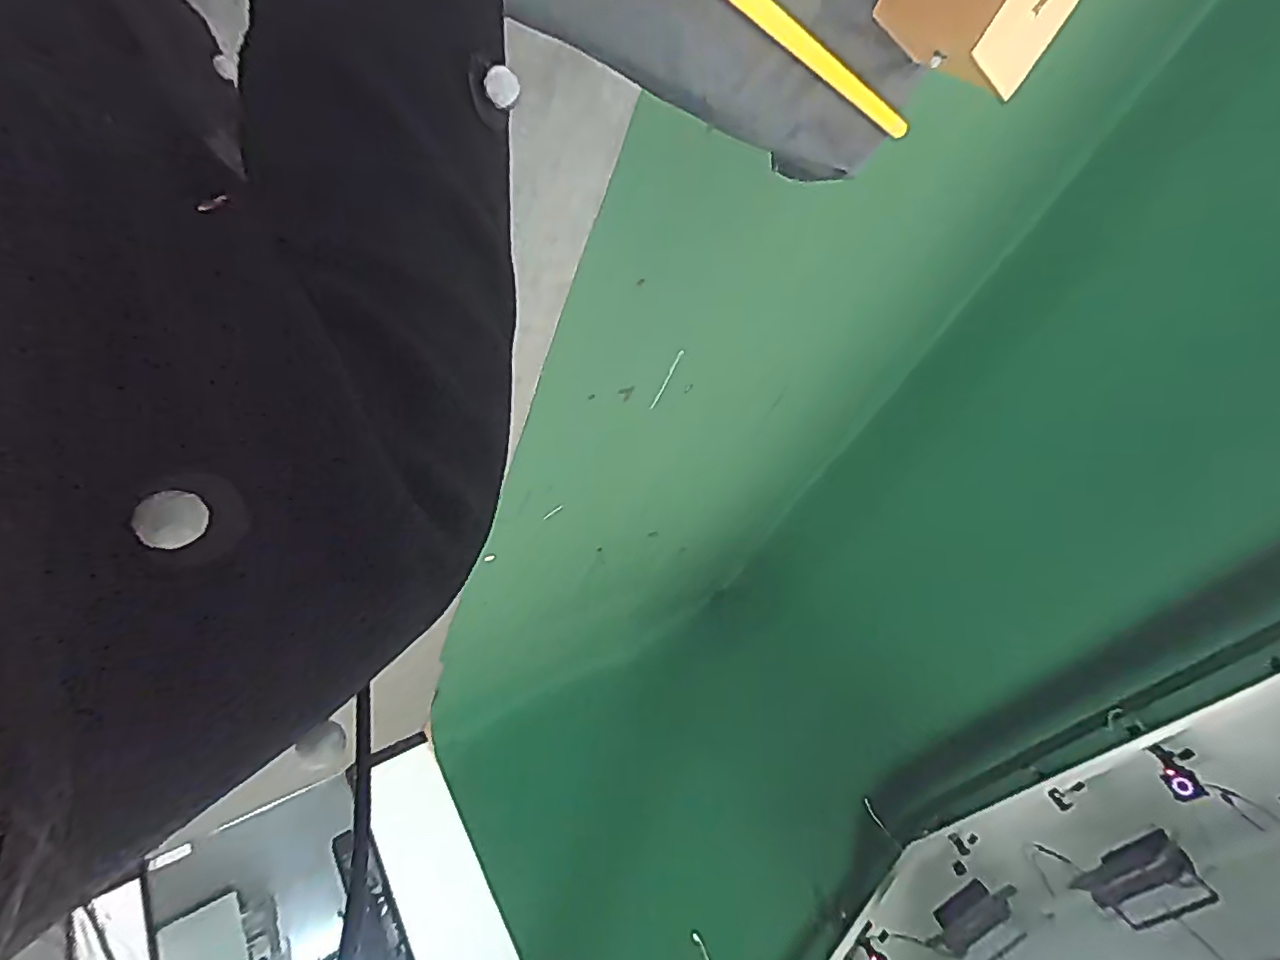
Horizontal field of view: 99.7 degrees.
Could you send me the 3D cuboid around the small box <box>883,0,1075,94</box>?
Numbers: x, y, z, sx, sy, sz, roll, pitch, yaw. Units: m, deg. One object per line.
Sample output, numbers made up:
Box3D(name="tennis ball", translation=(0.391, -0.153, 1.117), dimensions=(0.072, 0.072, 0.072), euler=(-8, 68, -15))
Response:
Box3D(name="small box", translation=(0.447, -0.651, 0.697), dimensions=(0.168, 0.176, 0.179), euler=(-9, 140, -43))
